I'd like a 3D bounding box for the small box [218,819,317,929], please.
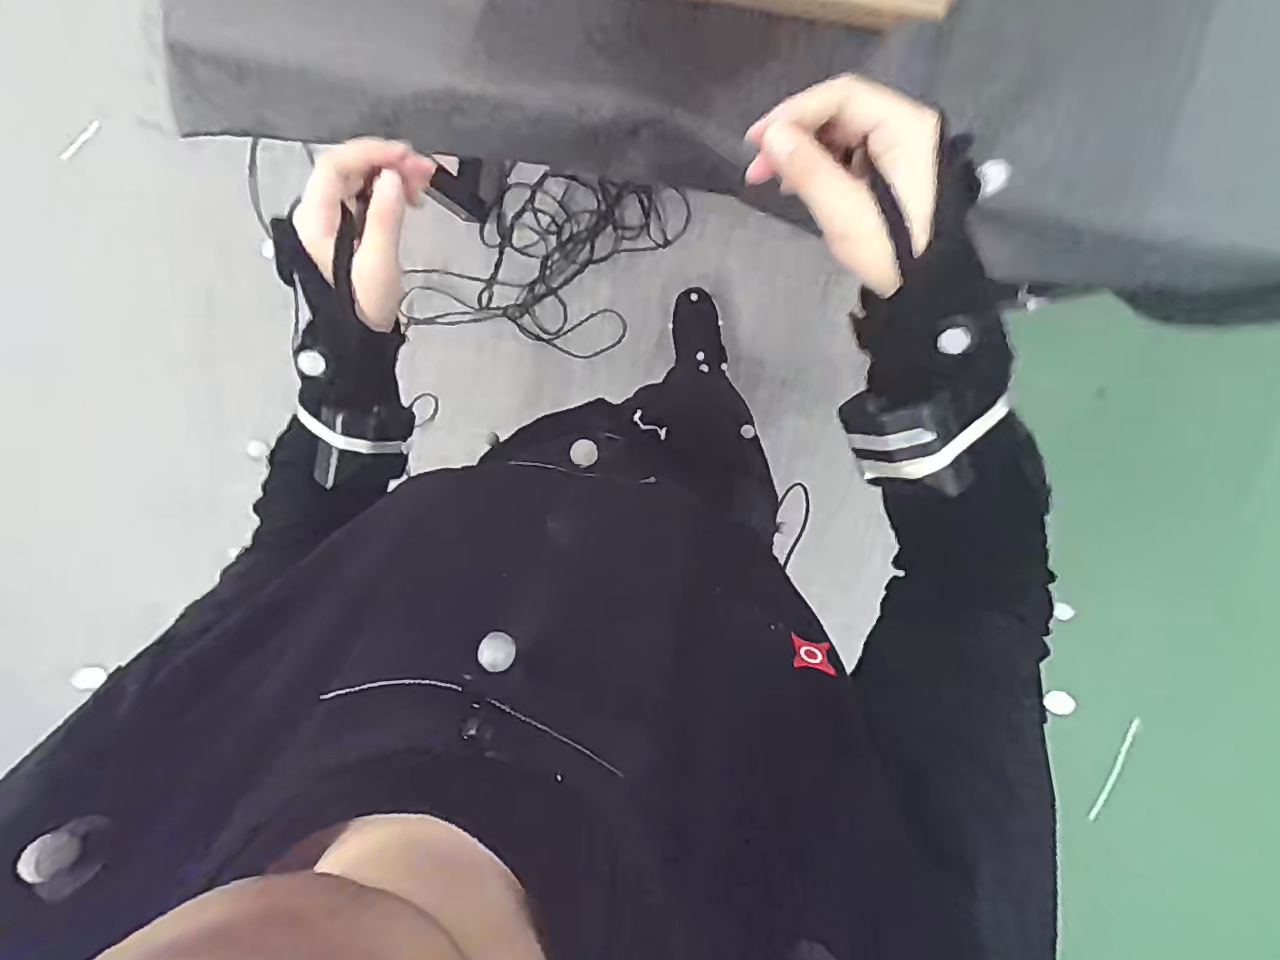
[{"bbox_3d":[-1.076,1.138,1.575,0.168,0.176,0.179,16,103,2],"label":"small box"}]
